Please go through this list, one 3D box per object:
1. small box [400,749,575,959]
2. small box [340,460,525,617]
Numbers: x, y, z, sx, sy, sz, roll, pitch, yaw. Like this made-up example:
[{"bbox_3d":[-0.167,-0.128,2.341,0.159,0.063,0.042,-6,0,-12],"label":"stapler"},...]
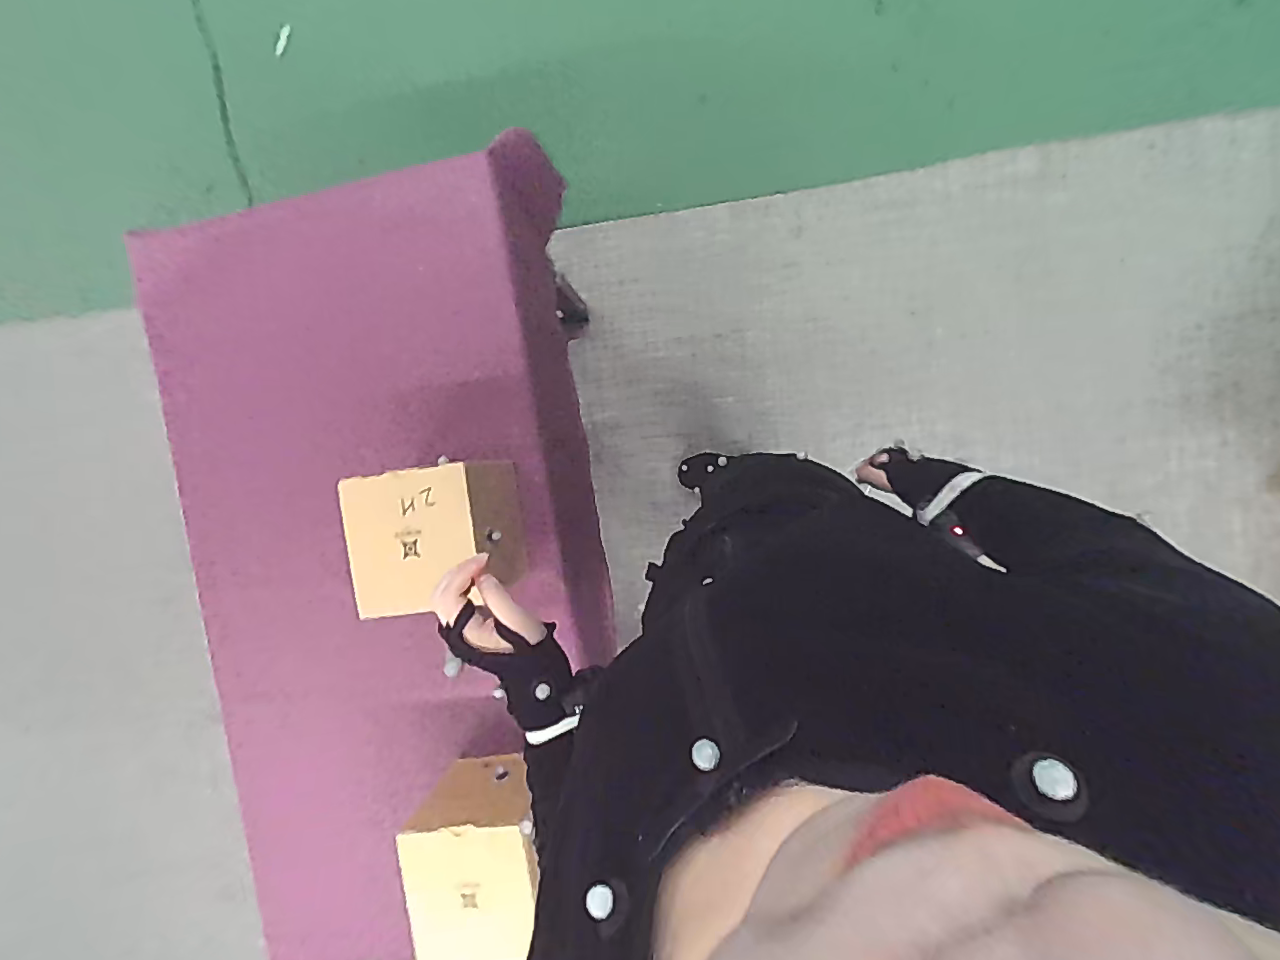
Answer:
[{"bbox_3d":[-0.196,0.504,0.745,0.168,0.176,0.179,-10,90,7],"label":"small box"},{"bbox_3d":[-0.266,0.069,0.732,0.168,0.176,0.179,-8,92,6],"label":"small box"}]
